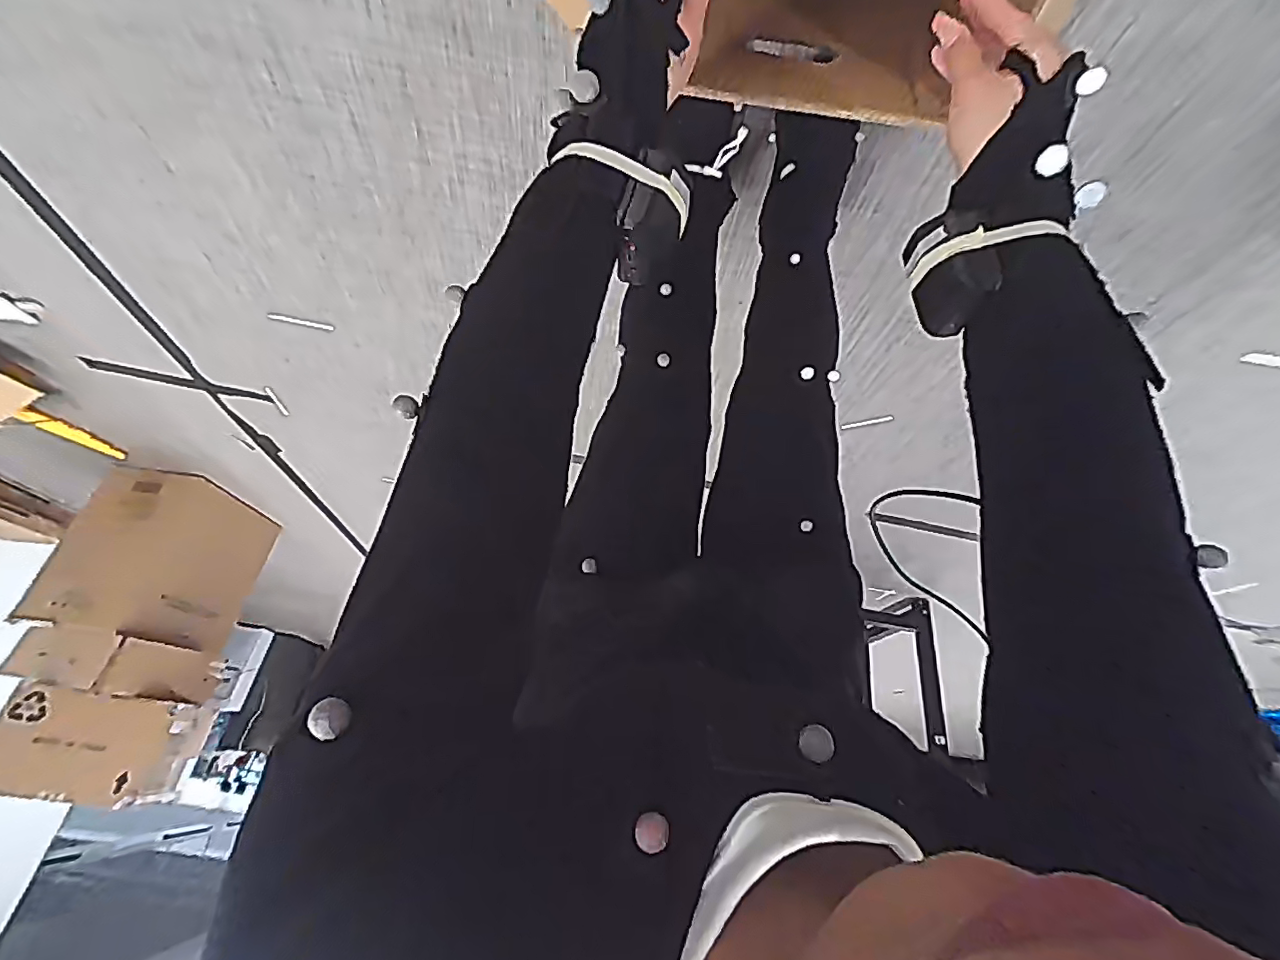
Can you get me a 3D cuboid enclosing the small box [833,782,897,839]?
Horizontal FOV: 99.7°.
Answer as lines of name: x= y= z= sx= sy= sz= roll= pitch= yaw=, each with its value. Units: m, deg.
small box: x=0.866 y=1.283 z=2.106 sx=0.168 sy=0.176 sz=0.179 roll=14 pitch=151 yaw=-8
